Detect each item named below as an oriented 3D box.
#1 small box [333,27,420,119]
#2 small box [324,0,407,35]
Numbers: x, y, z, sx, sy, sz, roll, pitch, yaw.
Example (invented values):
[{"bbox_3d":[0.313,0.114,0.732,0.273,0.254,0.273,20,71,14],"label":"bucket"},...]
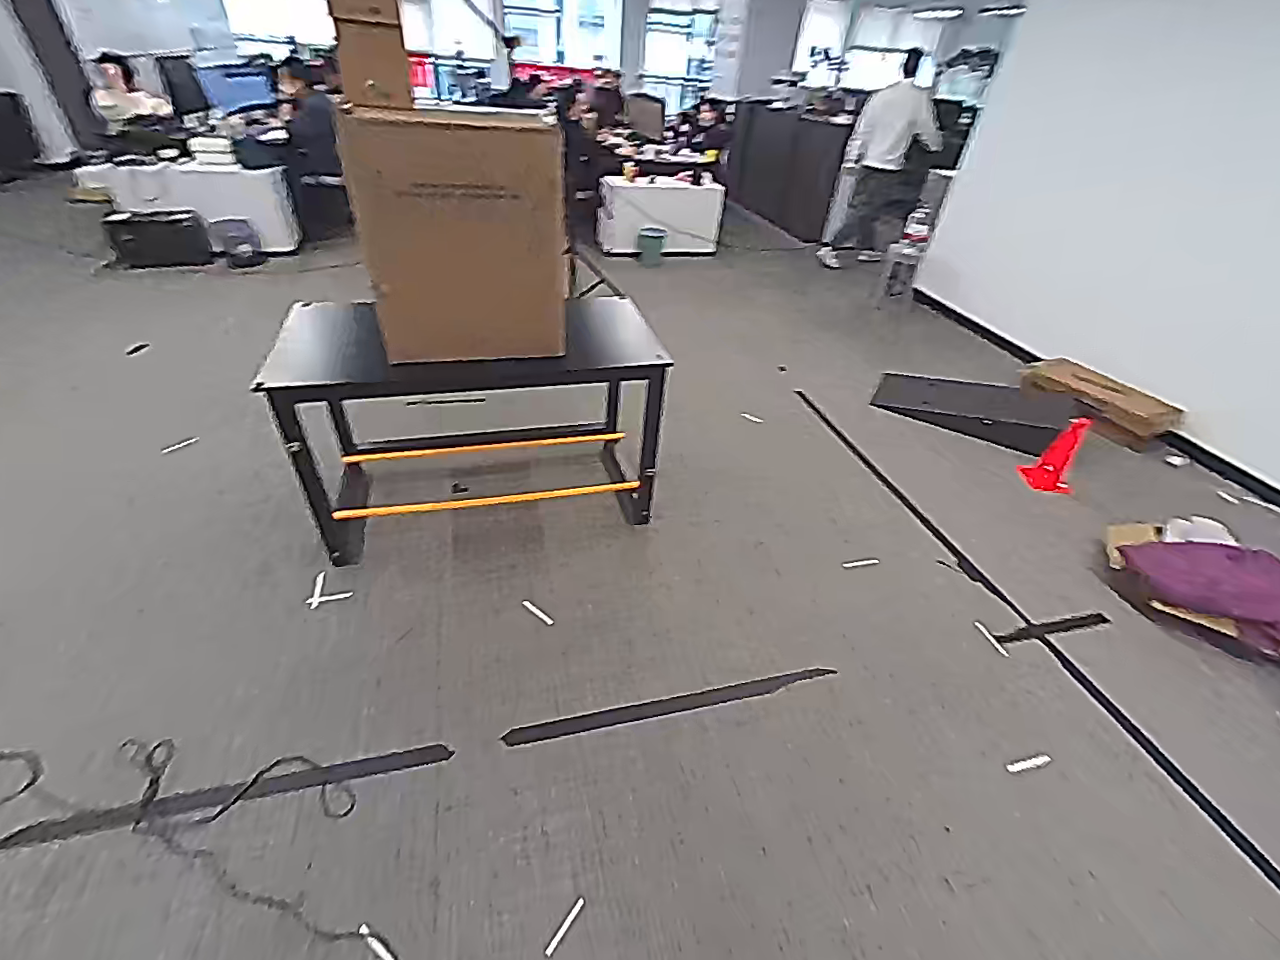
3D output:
[{"bbox_3d":[-0.663,-1.036,1.378,0.168,0.176,0.179,-9,41,-17],"label":"small box"},{"bbox_3d":[-0.649,-1.156,1.266,0.168,0.176,0.179,-8,40,-17],"label":"small box"}]
